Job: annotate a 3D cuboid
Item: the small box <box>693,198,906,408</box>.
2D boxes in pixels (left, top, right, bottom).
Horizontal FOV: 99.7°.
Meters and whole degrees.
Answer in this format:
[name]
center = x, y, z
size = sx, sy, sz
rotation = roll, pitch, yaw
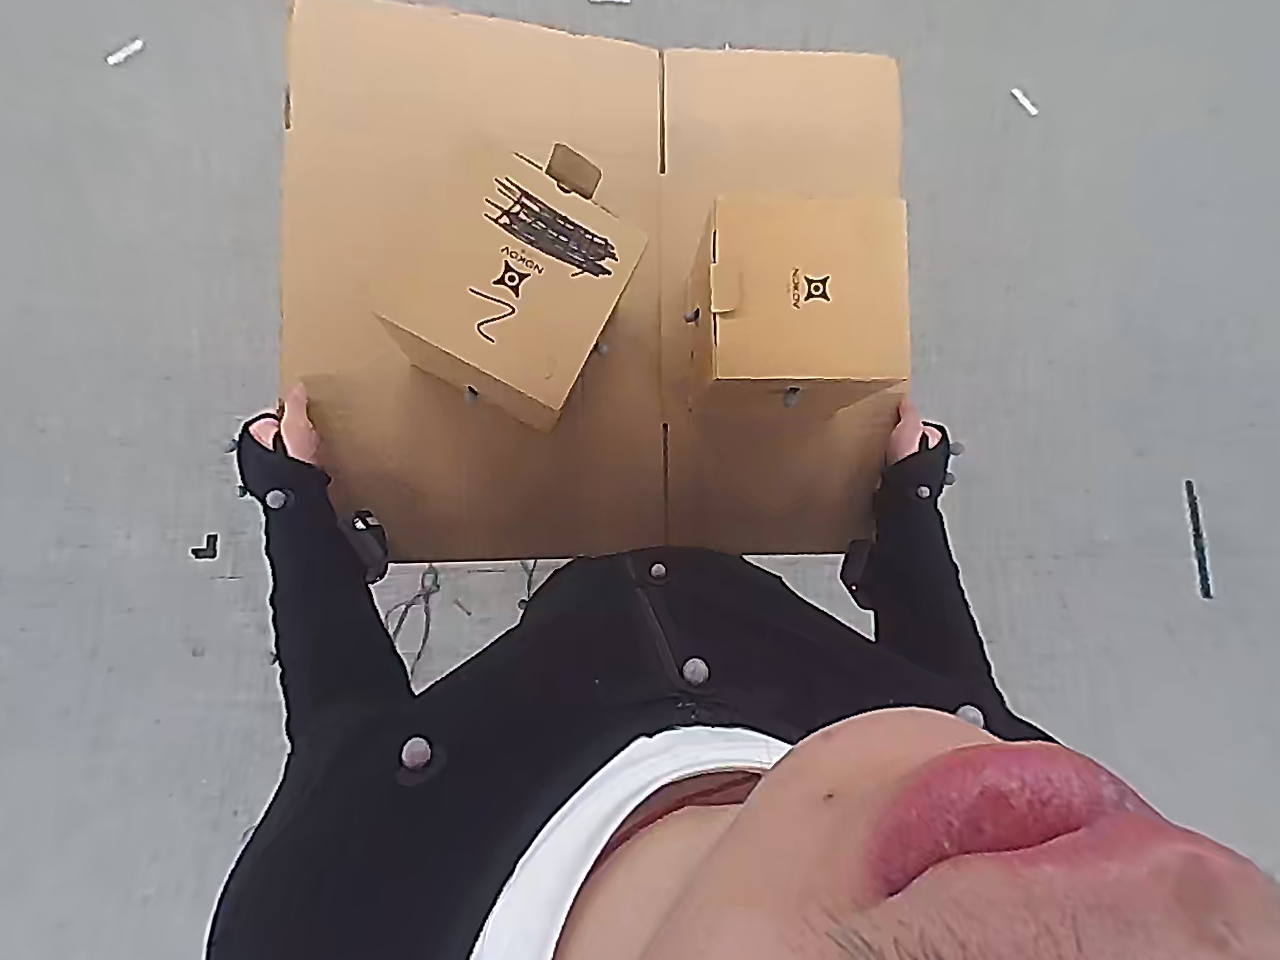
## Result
[small box]
center = 0.154, -0.172, 0.572
size = 0.179, 0.176, 0.168
rotation = -1, 87, -1
